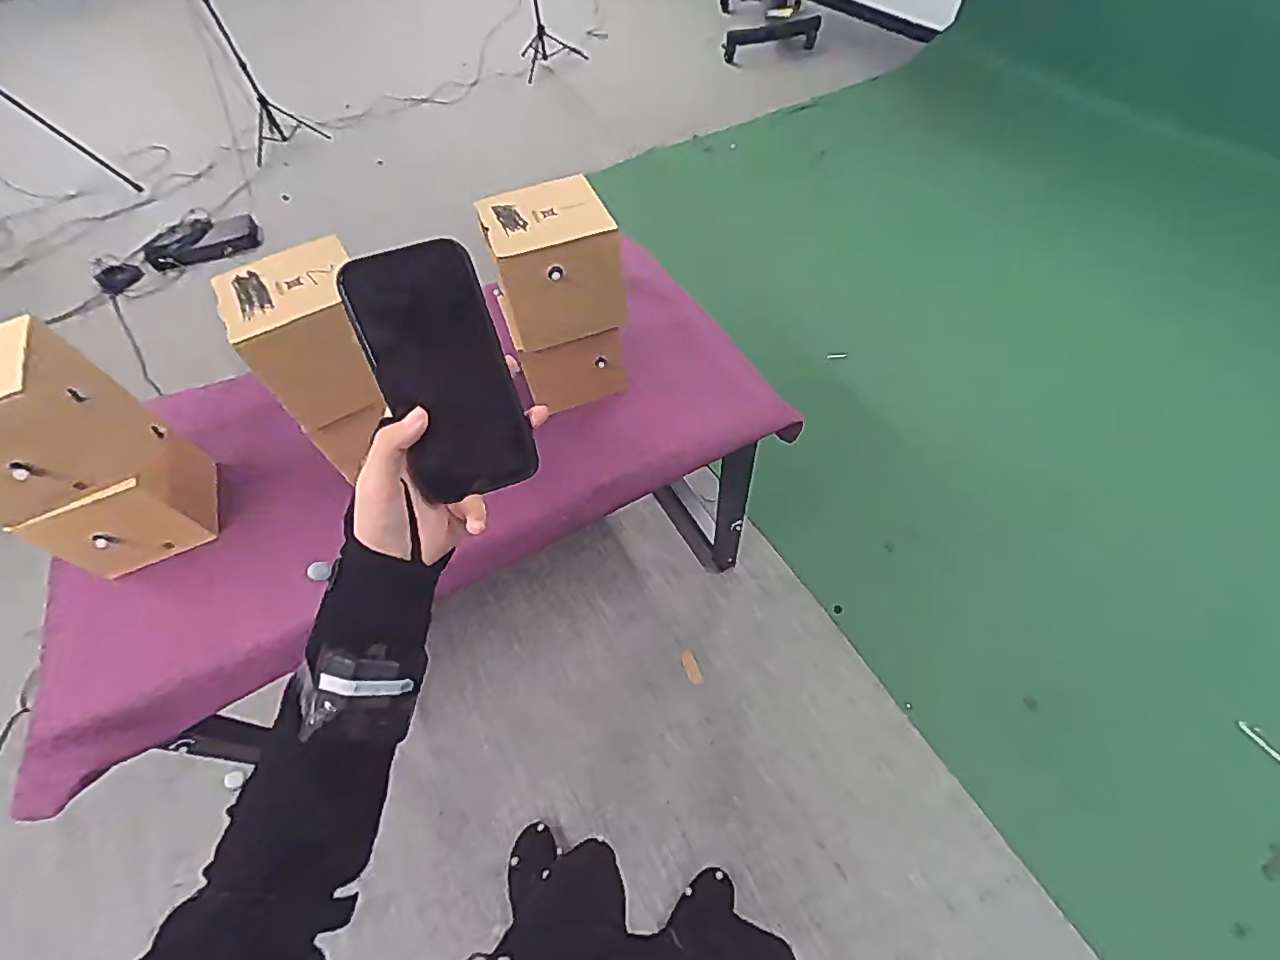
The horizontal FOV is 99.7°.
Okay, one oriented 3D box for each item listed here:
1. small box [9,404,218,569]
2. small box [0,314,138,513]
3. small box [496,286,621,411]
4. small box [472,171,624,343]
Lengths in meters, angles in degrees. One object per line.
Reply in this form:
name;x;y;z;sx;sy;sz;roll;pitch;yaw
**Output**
small box;-0.805;0.019;0.850;0.168;0.176;0.179;-24;57;-11
small box;-0.821;-0.079;0.719;0.168;0.176;0.179;-28;59;-14
small box;-0.138;-0.255;0.977;0.179;0.176;0.168;-19;56;-8
small box;-0.136;-0.338;0.835;0.179;0.176;0.168;-19;56;-9
